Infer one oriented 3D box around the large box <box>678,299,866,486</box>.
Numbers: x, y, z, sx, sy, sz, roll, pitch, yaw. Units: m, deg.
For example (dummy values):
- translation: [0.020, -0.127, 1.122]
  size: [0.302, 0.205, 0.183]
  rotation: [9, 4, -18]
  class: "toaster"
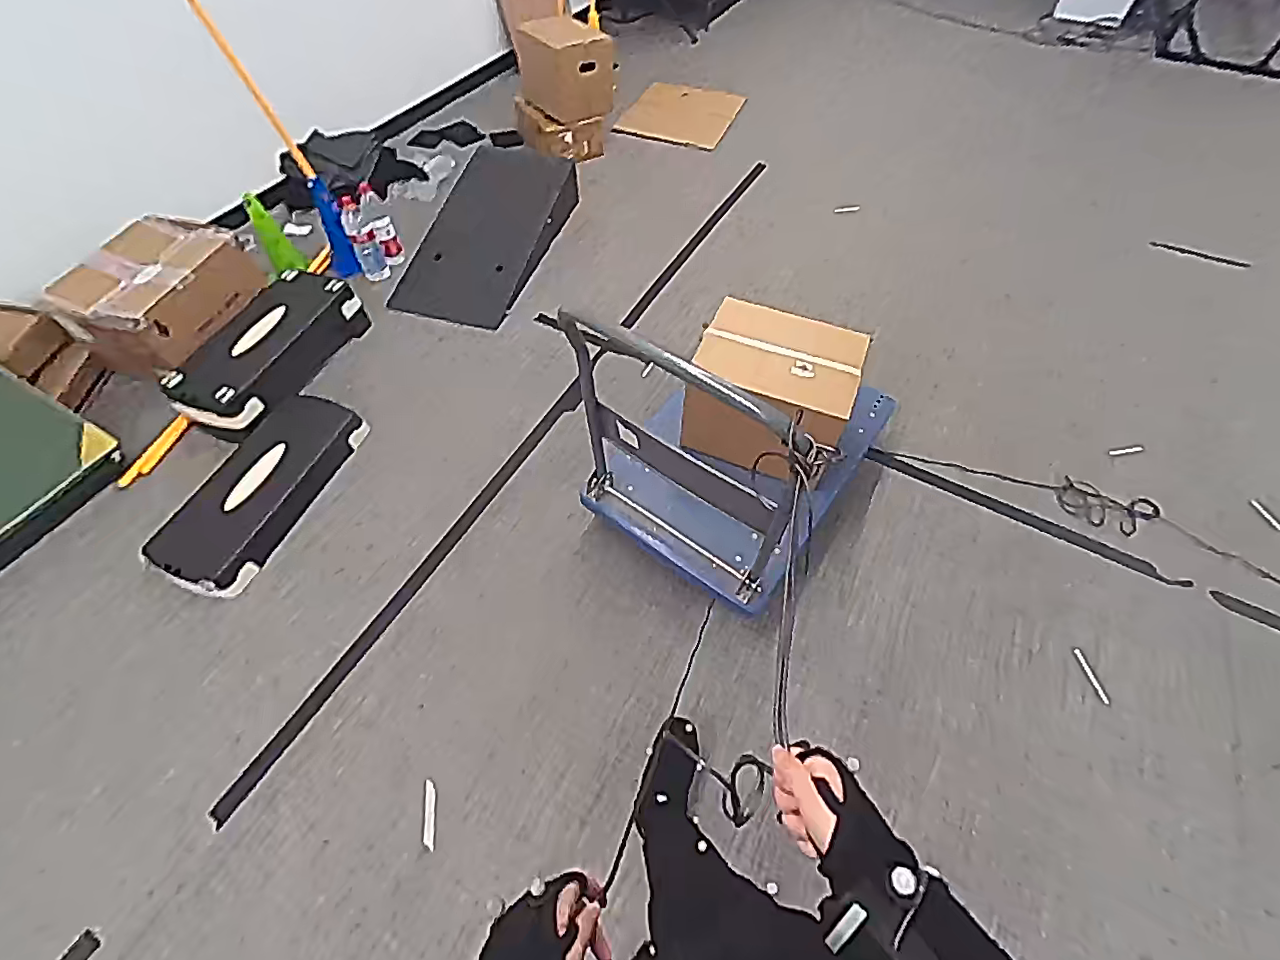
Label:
- translation: [0.347, -0.238, 1.494]
  size: [0.408, 0.320, 0.320]
  rotation: [20, 59, 12]
  class: "large box"
